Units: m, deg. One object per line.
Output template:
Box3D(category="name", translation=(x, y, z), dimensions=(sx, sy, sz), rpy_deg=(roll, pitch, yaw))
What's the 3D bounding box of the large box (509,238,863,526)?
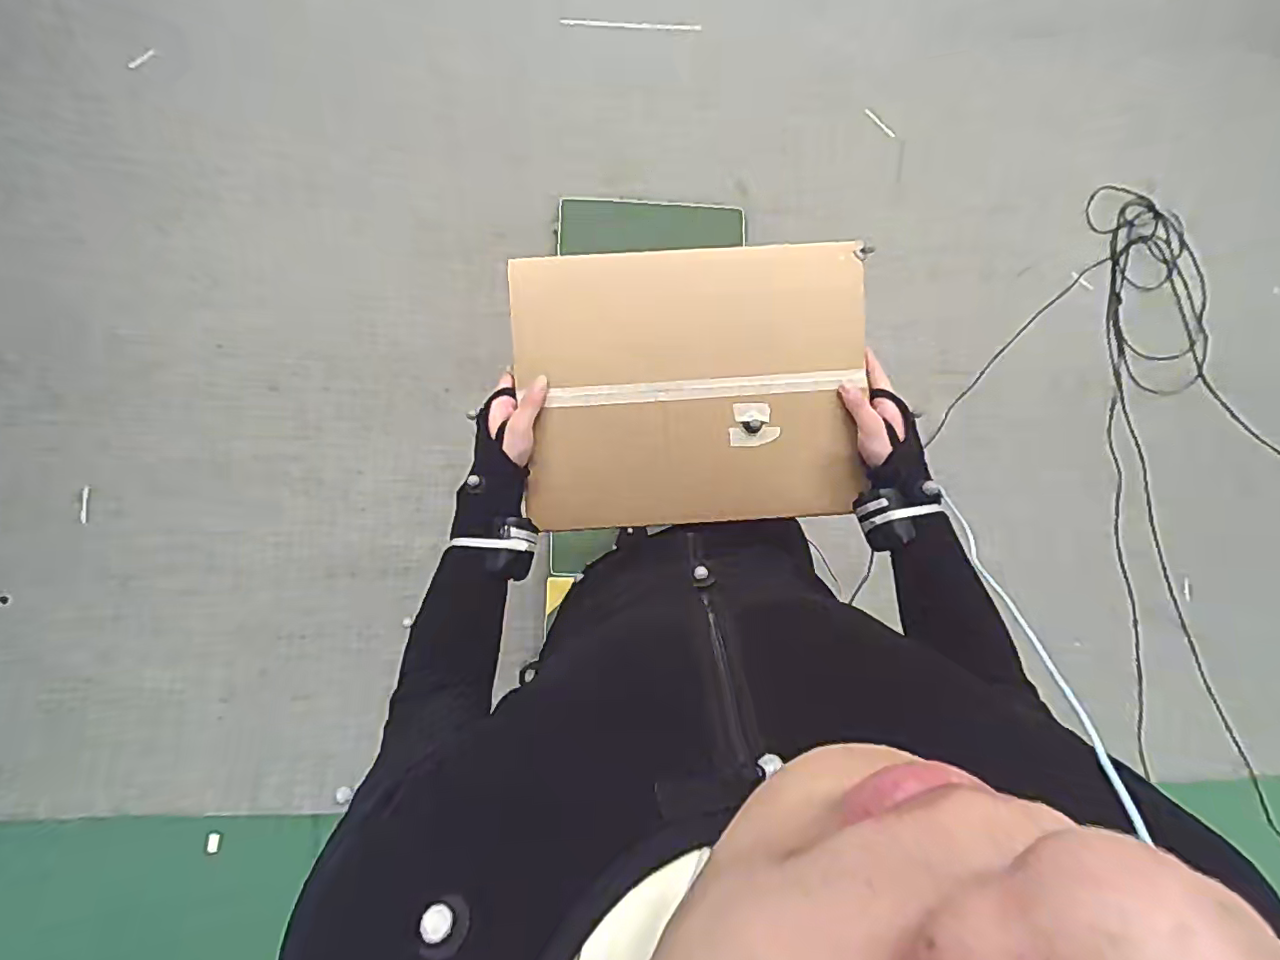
Box3D(category="large box", translation=(0.052, -0.121, 0.781), dimensions=(0.408, 0.320, 0.320), rpy_deg=(-4, 94, -2))
